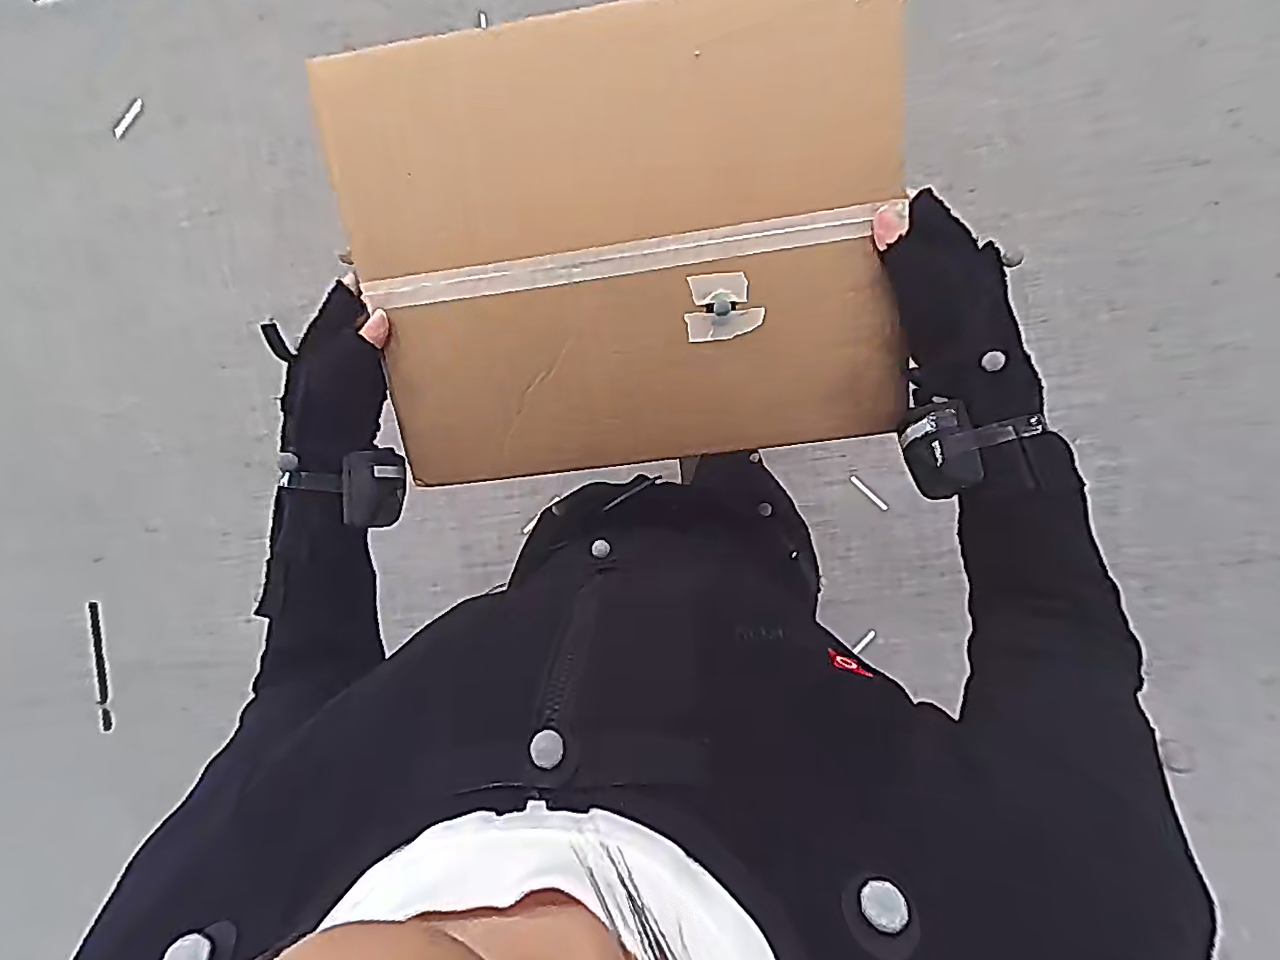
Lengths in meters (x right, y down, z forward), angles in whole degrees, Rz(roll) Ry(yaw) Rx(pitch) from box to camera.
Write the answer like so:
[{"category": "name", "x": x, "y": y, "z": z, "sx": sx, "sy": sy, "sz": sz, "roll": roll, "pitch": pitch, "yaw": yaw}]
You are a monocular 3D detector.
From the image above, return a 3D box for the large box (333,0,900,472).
[{"category": "large box", "x": -0.004, "y": -0.217, "z": 0.557, "sx": 0.408, "sy": 0.320, "sz": 0.320, "roll": -7, "pitch": 106, "yaw": 4}]
